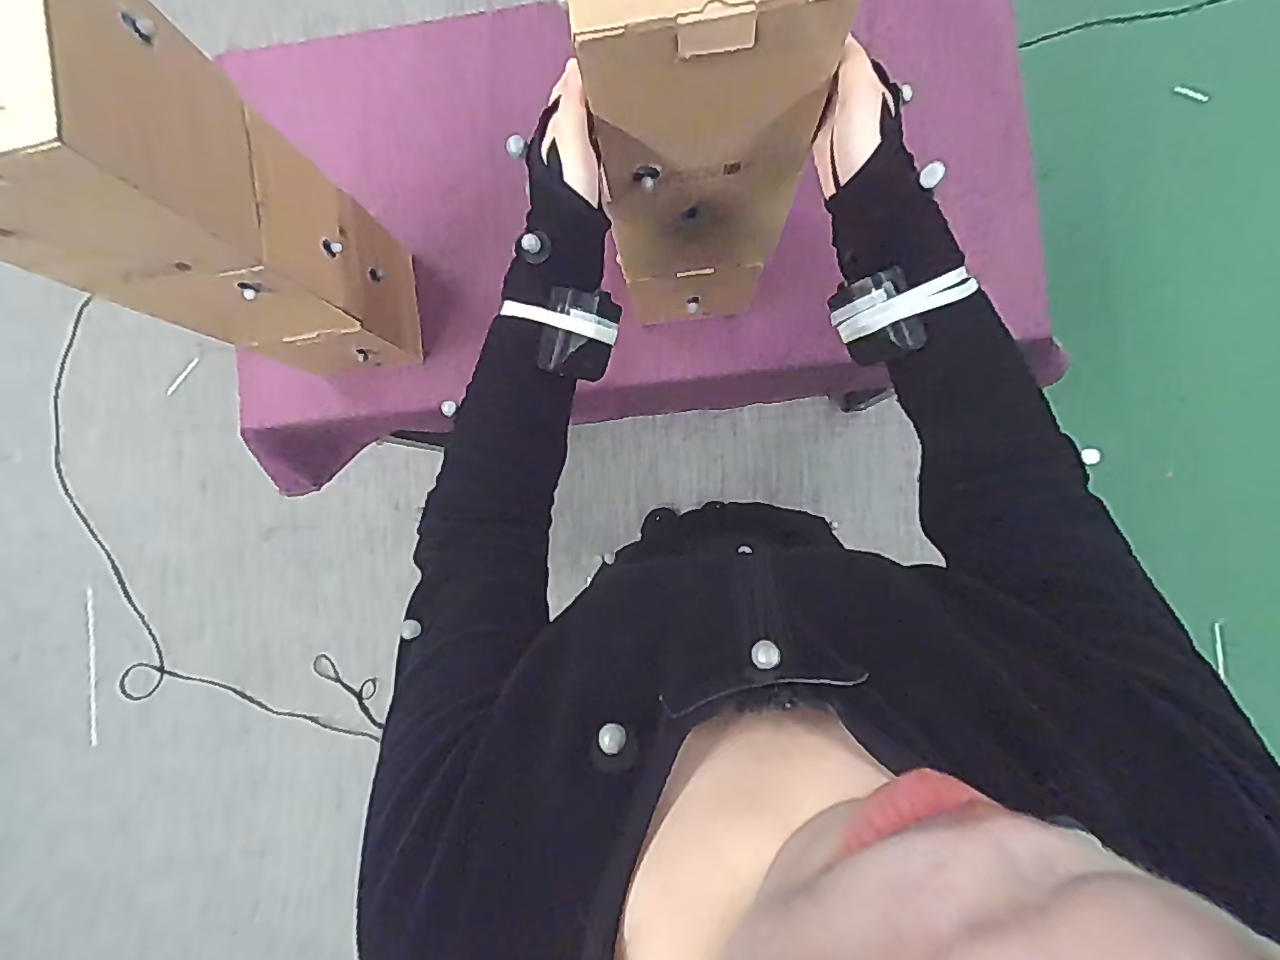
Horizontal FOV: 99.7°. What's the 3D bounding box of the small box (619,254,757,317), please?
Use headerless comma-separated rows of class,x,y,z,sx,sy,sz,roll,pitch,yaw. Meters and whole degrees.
small box,0.057,-0.326,0.718,0.168,0.176,0.179,-6,88,3

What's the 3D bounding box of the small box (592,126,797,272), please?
small box,0.048,-0.330,0.553,0.179,0.176,0.168,-6,88,4

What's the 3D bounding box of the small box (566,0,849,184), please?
small box,0.038,-0.341,0.389,0.168,0.176,0.179,-7,86,4

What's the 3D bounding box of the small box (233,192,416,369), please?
small box,-0.428,-0.259,0.747,0.168,0.176,0.179,-7,87,2

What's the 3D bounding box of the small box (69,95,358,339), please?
small box,-0.442,-0.265,0.585,0.179,0.176,0.168,-9,88,2
